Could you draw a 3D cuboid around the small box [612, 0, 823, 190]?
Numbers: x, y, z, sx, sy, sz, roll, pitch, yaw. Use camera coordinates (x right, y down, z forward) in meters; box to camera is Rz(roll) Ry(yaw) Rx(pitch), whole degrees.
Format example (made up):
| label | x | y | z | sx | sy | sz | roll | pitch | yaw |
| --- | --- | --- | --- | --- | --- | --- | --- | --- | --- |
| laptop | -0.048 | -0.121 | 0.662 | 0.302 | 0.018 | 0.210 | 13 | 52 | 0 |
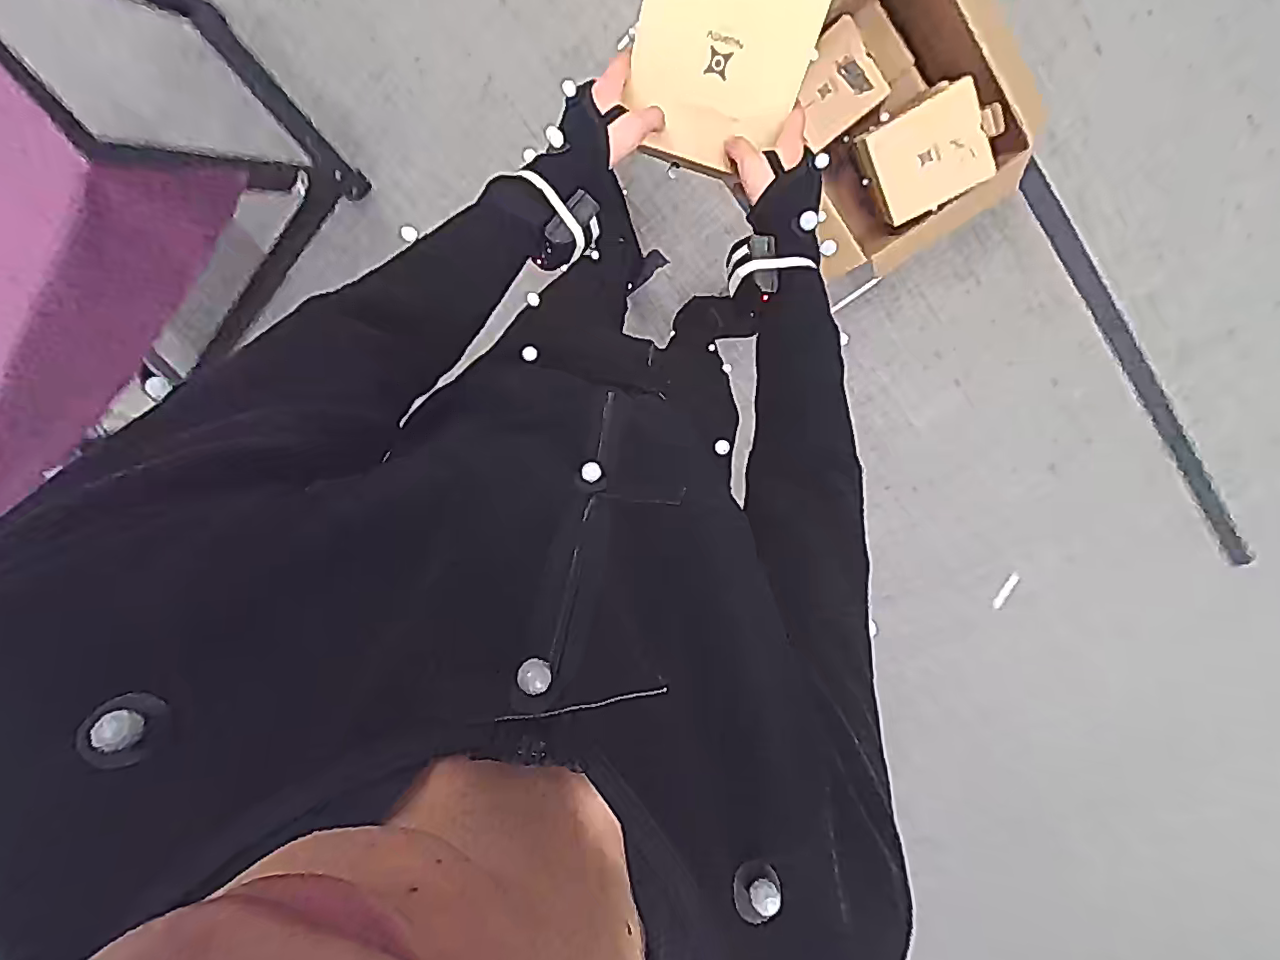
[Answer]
| label | x | y | z | sx | sy | sz | roll | pitch | yaw |
| --- | --- | --- | --- | --- | --- | --- | --- | --- | --- |
| small box | 0.075 | -0.437 | 0.590 | 0.168 | 0.176 | 0.179 | 16 | 116 | -3 |
